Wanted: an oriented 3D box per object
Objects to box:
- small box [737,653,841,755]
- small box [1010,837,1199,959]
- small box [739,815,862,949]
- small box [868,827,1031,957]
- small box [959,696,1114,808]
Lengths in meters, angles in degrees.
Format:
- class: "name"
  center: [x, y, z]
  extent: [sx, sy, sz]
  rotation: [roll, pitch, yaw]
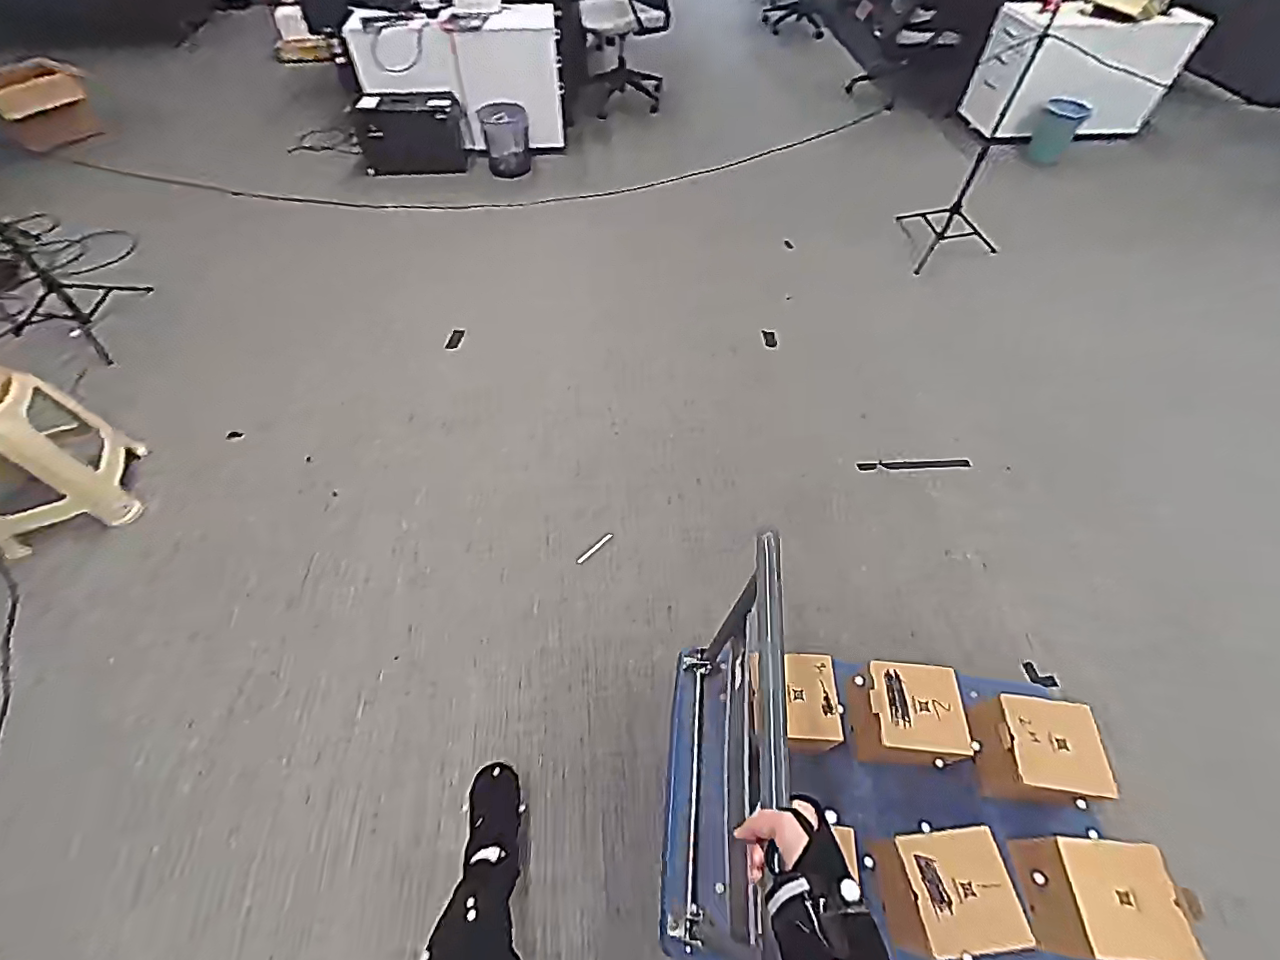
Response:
- class: "small box"
  center: [0.305, 0.481, 1.152]
  extent: [0.179, 0.176, 0.168]
  rotation: [3, 54, 1]
- class: "small box"
  center: [0.807, 0.751, 0.970]
  extent: [0.179, 0.176, 0.168]
  rotation: [4, 53, 1]
- class: "small box"
  center: [0.277, 0.721, 0.976]
  extent: [0.179, 0.176, 0.168]
  rotation: [7, 54, 3]
- class: "small box"
  center: [0.534, 0.736, 0.972]
  extent: [0.179, 0.176, 0.168]
  rotation: [-3, 54, -5]
- class: "small box"
  center: [0.796, 0.561, 1.108]
  extent: [0.179, 0.176, 0.168]
  rotation: [7, 53, 4]
